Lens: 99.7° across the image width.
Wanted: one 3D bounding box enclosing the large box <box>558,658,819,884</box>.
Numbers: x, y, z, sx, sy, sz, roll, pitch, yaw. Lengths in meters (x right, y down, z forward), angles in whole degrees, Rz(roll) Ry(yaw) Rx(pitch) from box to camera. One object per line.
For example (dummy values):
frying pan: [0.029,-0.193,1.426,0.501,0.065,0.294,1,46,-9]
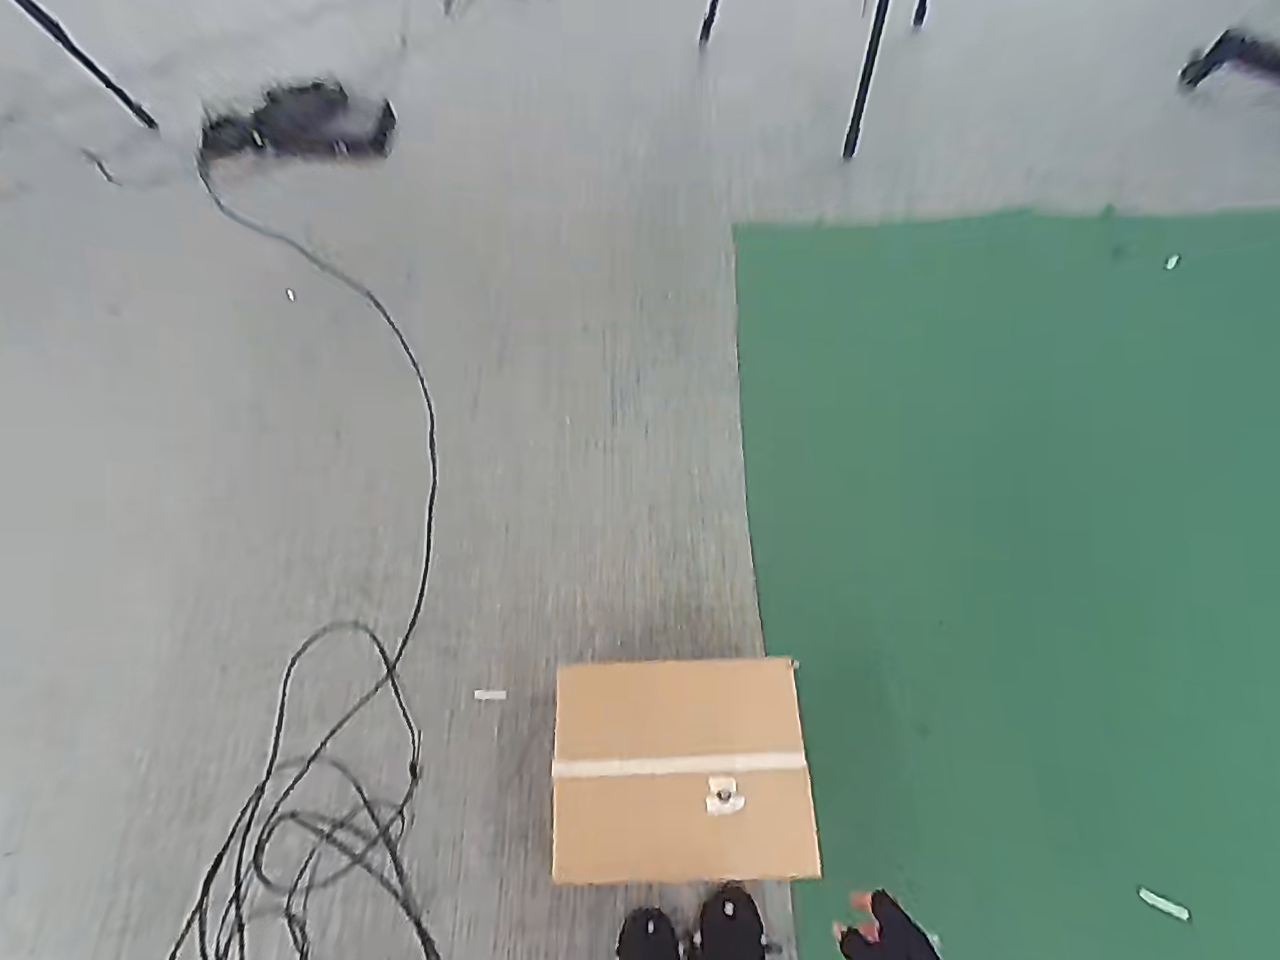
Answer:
large box: [0.068,0.520,1.008,0.408,0.320,0.320,-2,66,0]
